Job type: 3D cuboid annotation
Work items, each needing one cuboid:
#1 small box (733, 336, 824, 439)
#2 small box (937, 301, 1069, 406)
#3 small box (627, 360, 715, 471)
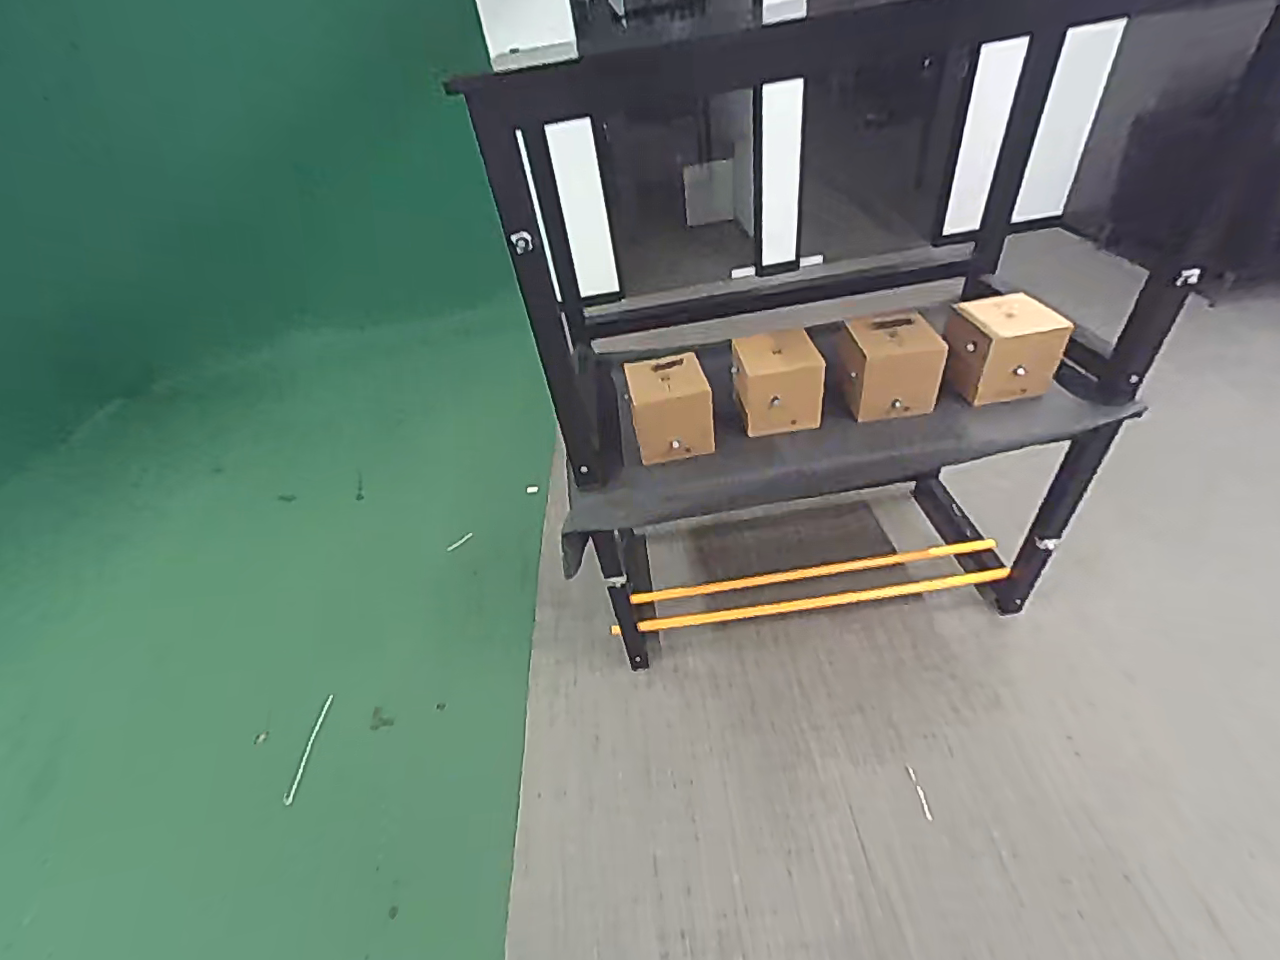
[{"bbox_3d":[0.315,-0.208,1.250,0.168,0.176,0.179,-9,40,2],"label":"small box"},{"bbox_3d":[0.802,-0.278,1.216,0.168,0.176,0.179,-9,39,2],"label":"small box"},{"bbox_3d":[0.069,-0.147,1.230,0.168,0.176,0.179,-12,41,-1],"label":"small box"}]
